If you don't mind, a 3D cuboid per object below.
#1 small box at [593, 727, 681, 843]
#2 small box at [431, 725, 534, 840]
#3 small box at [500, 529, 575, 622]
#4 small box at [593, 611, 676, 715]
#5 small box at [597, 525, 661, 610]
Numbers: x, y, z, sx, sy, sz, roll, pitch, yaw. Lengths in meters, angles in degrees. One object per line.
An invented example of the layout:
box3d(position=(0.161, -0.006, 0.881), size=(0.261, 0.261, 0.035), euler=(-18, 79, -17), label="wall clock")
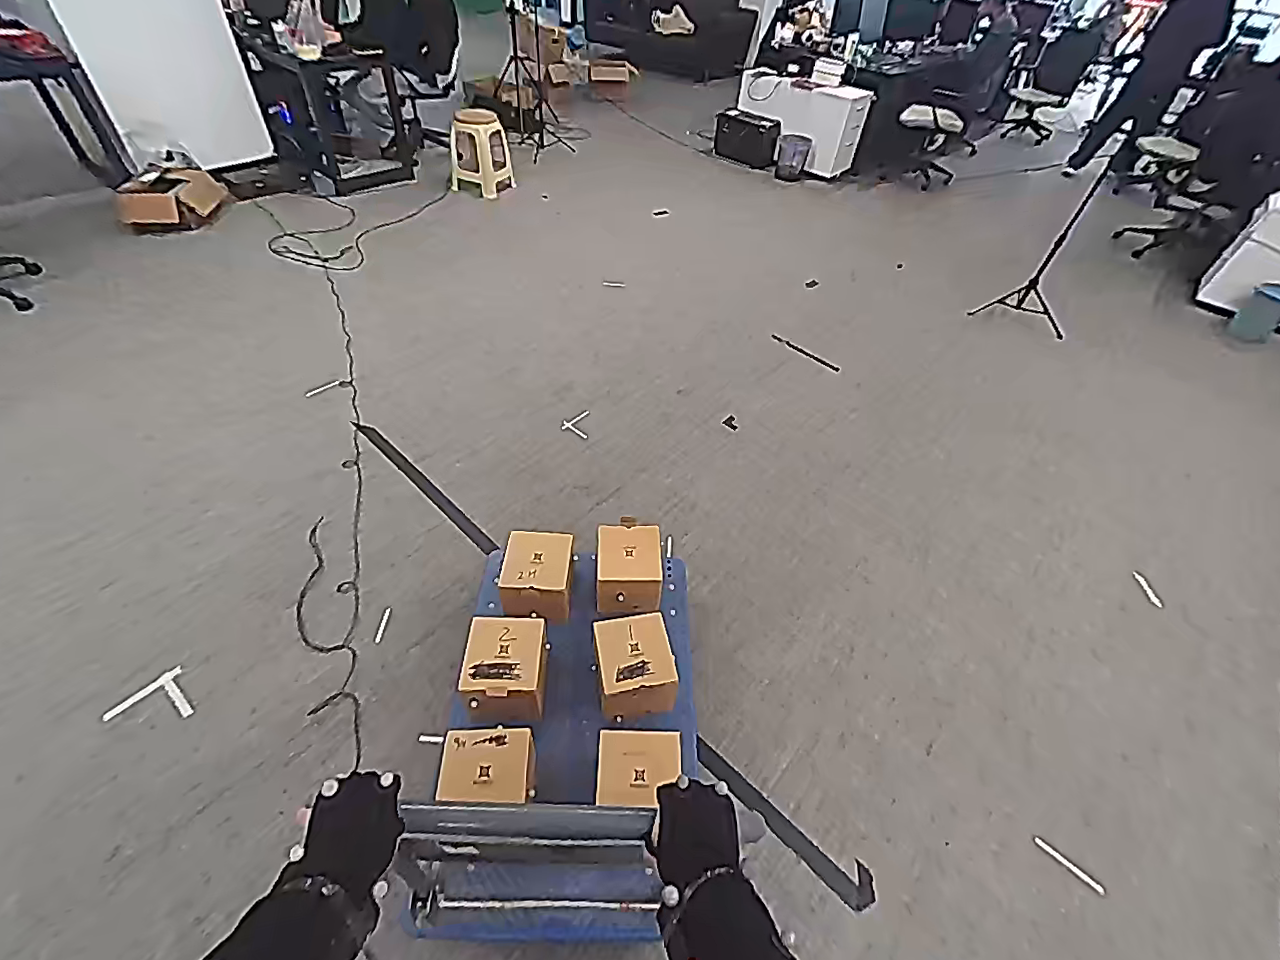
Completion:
box3d(position=(-0.008, 0.629, 1.109), size=(0.168, 0.176, 0.179), euler=(4, 46, -3), label="small box")
box3d(position=(-0.305, 0.614, 1.091), size=(0.168, 0.176, 0.179), euler=(1, 47, -6), label="small box")
box3d(position=(-0.265, 0.253, 1.434), size=(0.168, 0.176, 0.179), euler=(4, 47, -1), label="small box")
box3d(position=(-0.019, 0.439, 1.285), size=(0.168, 0.176, 0.179), euler=(-6, 47, -11), label="small box")
box3d(position=(-0.033, 0.241, 1.471), size=(0.168, 0.176, 0.179), euler=(1, 47, -4), label="small box")
